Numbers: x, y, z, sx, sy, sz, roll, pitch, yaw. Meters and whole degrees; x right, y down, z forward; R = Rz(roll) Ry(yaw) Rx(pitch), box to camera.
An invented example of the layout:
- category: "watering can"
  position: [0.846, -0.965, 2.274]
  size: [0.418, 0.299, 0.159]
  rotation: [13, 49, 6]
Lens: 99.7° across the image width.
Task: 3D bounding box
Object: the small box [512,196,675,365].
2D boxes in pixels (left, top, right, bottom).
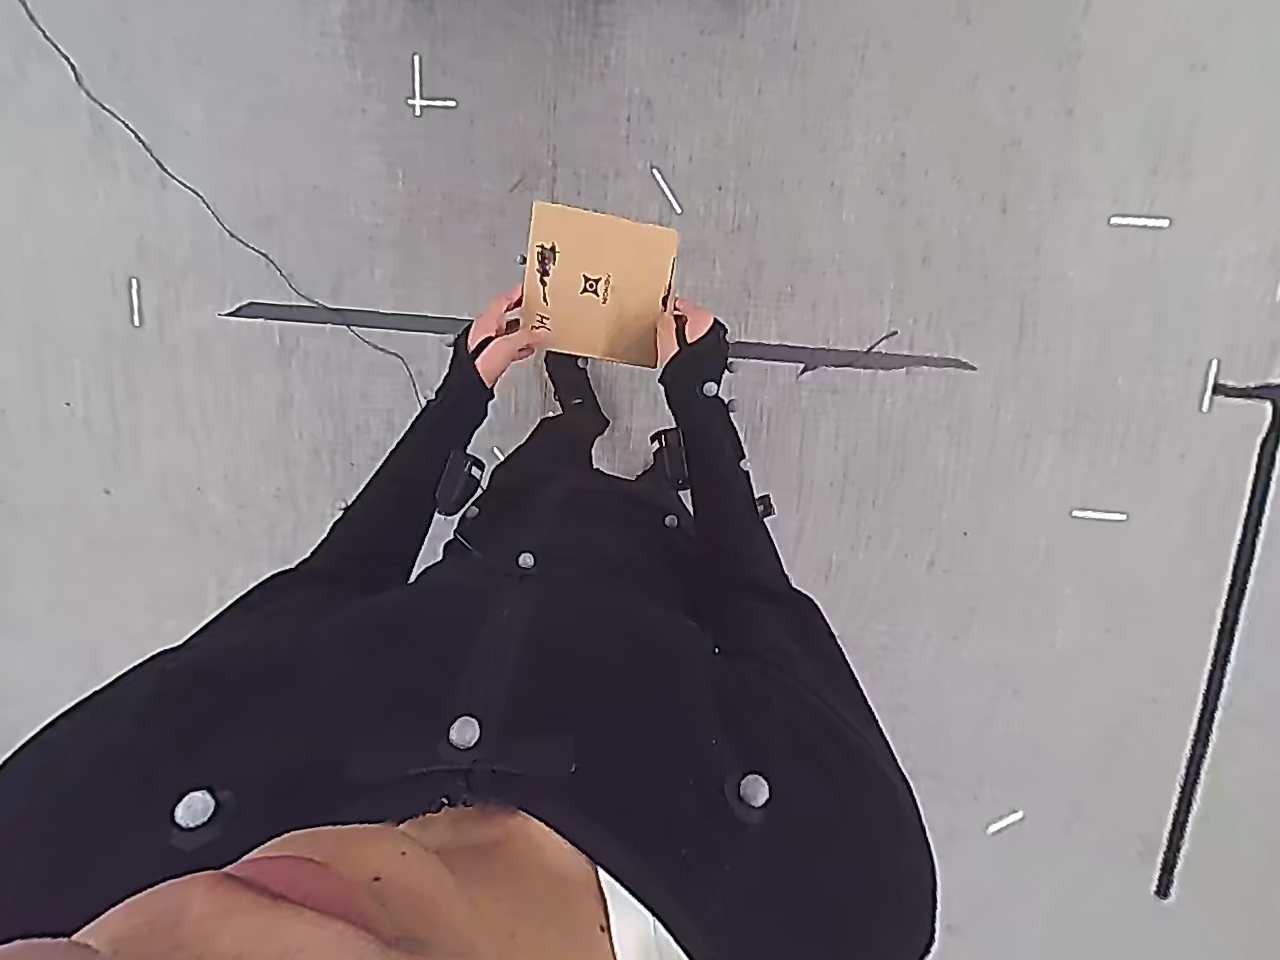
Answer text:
- category: "small box"
  position: [-0.066, -0.254, 0.723]
  size: [0.179, 0.176, 0.168]
  rotation: [8, 102, -10]
